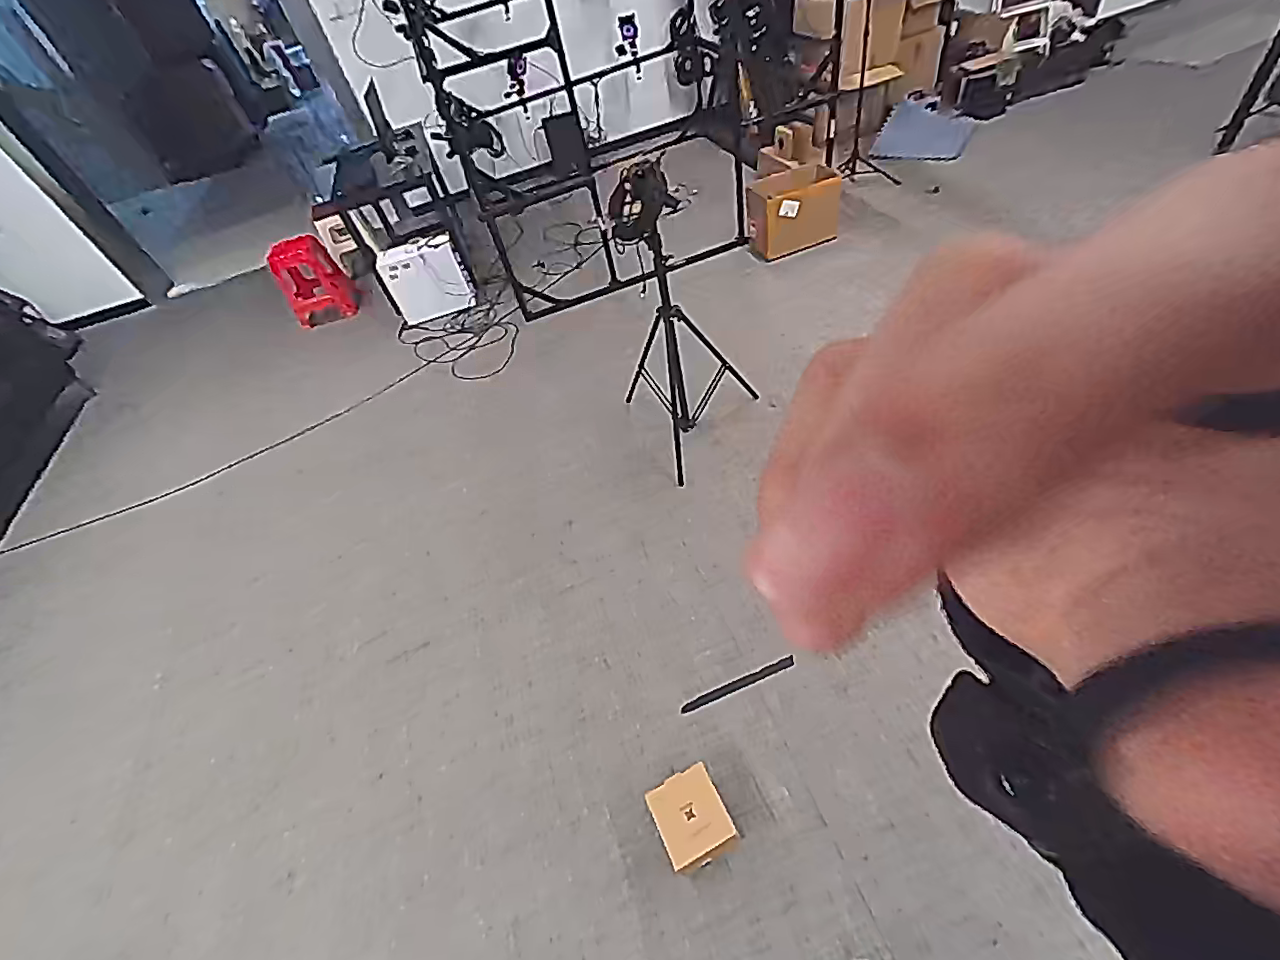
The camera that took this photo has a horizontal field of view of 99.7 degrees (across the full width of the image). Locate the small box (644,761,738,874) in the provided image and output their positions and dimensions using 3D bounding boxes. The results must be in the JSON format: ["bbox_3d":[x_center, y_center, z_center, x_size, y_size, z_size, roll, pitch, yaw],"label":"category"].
[{"bbox_3d":[0.130,0.845,1.351,0.168,0.176,0.179,-26,49,-8],"label":"small box"}]
